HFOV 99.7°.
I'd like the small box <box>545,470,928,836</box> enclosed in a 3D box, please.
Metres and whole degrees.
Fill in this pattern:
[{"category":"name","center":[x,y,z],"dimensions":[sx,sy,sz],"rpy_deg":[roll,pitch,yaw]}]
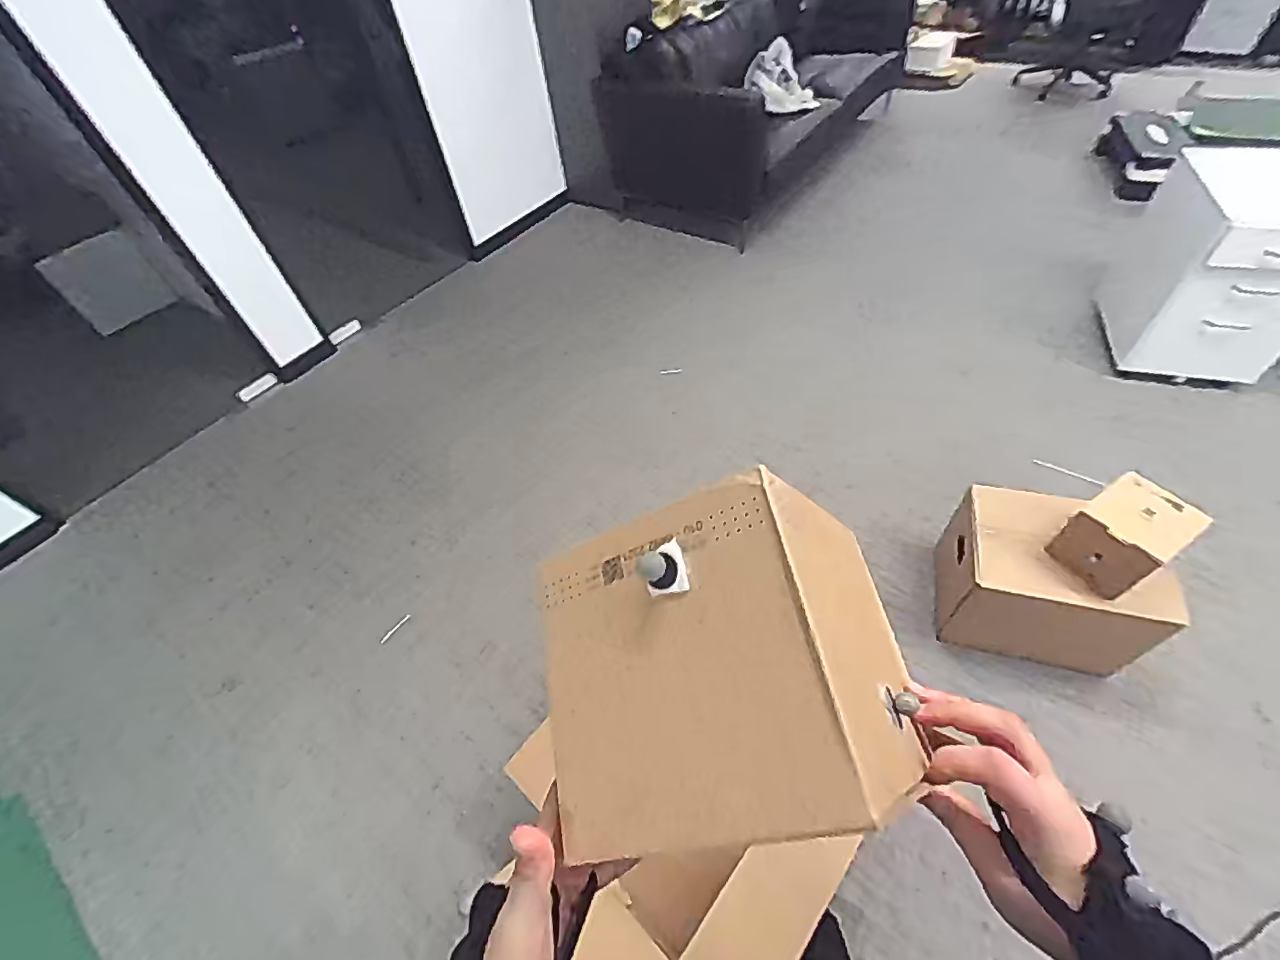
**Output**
[{"category":"small box","center":[0.058,0.112,0.355],"dimensions":[0.168,0.179,0.176],"rpy_deg":[-28,58,28]}]

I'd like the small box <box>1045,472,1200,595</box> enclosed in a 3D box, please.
[{"category":"small box","center":[1.043,0.123,1.191],"dimensions":[0.179,0.176,0.168],"rpy_deg":[-30,54,-15]}]
